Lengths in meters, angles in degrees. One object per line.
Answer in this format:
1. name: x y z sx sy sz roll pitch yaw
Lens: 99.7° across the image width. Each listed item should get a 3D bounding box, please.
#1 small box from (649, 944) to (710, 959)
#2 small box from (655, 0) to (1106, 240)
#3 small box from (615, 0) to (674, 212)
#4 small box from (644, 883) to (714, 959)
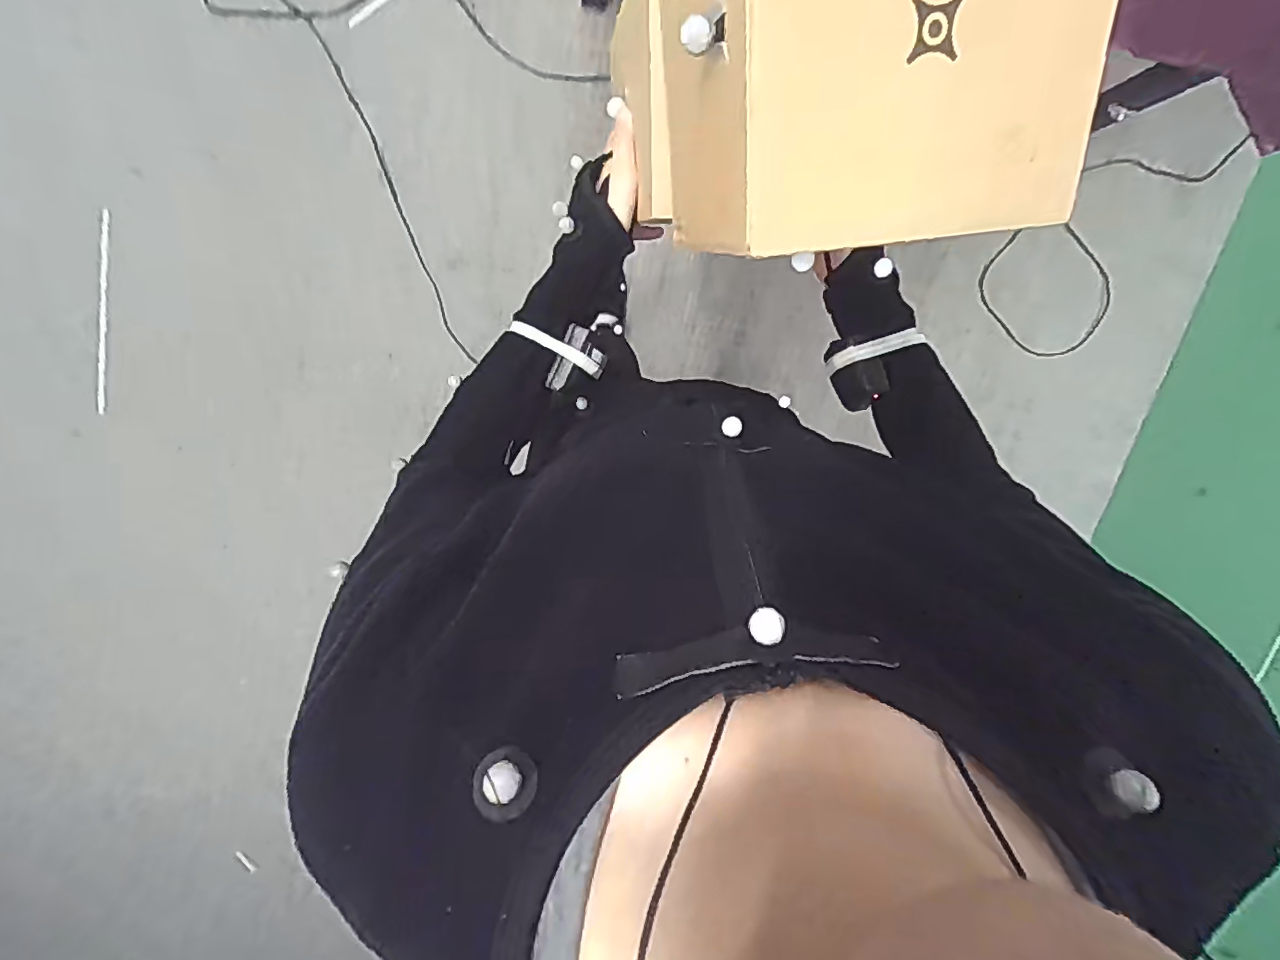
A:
1. small box: 0.114 1.475 1.541 0.179 0.176 0.168 10 102 -8
2. small box: 0.104 -0.231 0.291 0.168 0.176 0.179 -8 114 -5
3. small box: 0.076 -0.309 0.431 0.179 0.176 0.168 -4 114 -6
4. small box: 0.114 1.422 1.698 0.168 0.176 0.179 14 101 -9
